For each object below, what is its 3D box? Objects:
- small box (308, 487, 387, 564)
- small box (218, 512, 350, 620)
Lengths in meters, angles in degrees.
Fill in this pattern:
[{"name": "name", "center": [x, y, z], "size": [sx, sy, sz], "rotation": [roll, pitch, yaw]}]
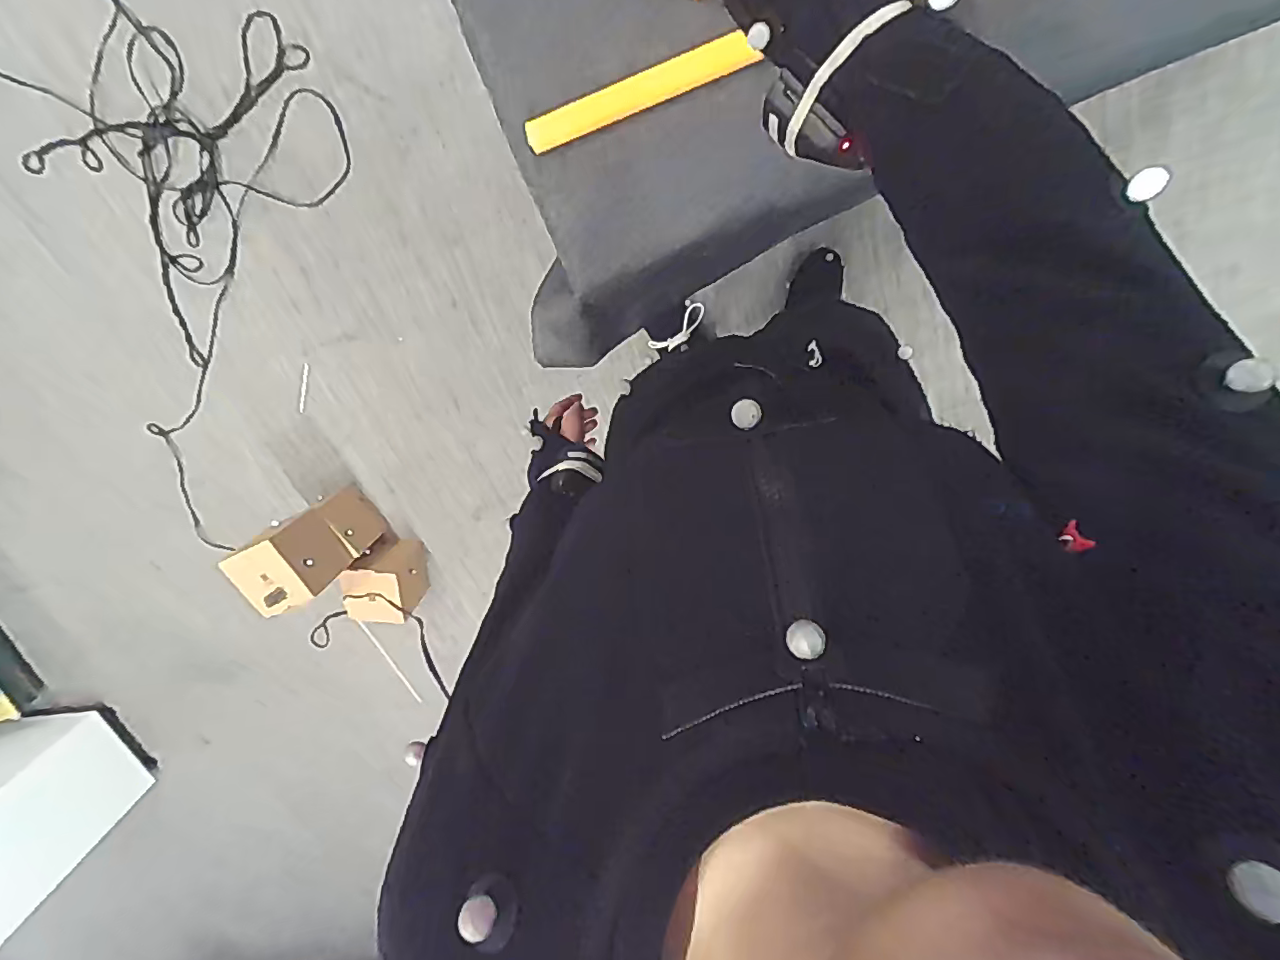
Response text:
[{"name": "small box", "center": [-0.844, 0.146, 1.489], "size": [0.179, 0.176, 0.168], "rotation": [-26, 109, 16]}, {"name": "small box", "center": [-0.867, 0.208, 1.337], "size": [0.168, 0.176, 0.179], "rotation": [-22, 110, 14]}]
